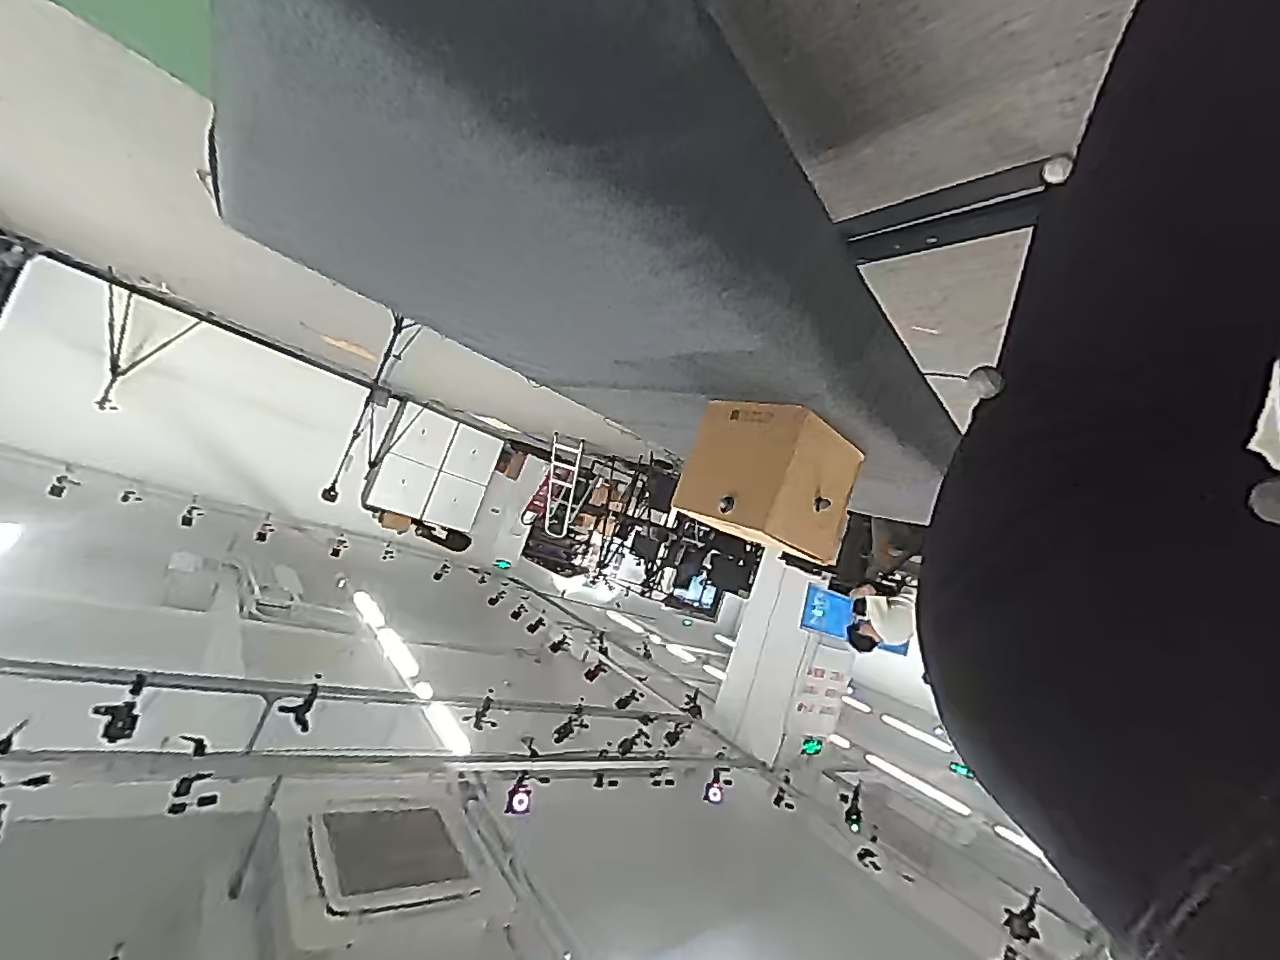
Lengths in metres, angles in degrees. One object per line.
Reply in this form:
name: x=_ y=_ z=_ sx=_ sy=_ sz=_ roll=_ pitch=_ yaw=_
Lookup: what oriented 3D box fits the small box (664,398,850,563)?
small box: x=0.170 y=-0.001 z=0.769 sx=0.179 sy=0.176 sz=0.168 roll=26 pitch=173 yaw=-41
